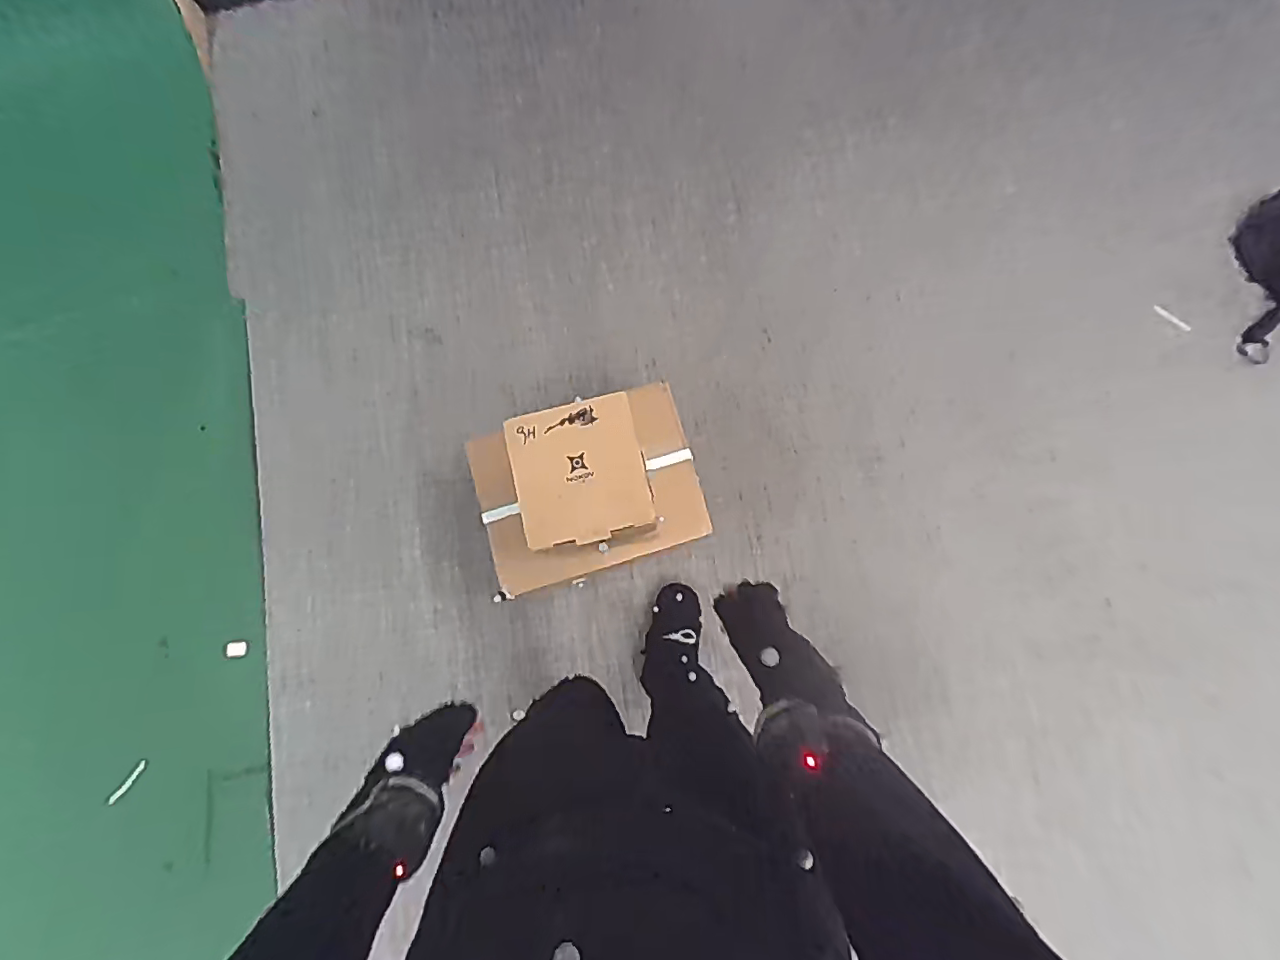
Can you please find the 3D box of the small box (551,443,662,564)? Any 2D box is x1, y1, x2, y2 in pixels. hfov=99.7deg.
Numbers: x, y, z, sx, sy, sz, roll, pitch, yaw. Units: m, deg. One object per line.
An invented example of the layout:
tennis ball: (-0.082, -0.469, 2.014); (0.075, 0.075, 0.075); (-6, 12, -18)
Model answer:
small box: (-0.063, 0.045, 0.918); (0.179, 0.176, 0.168); (-12, 80, 2)

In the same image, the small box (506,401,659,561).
small box: (-0.070, 0.011, 0.758); (0.168, 0.176, 0.179); (-14, 81, 1)
